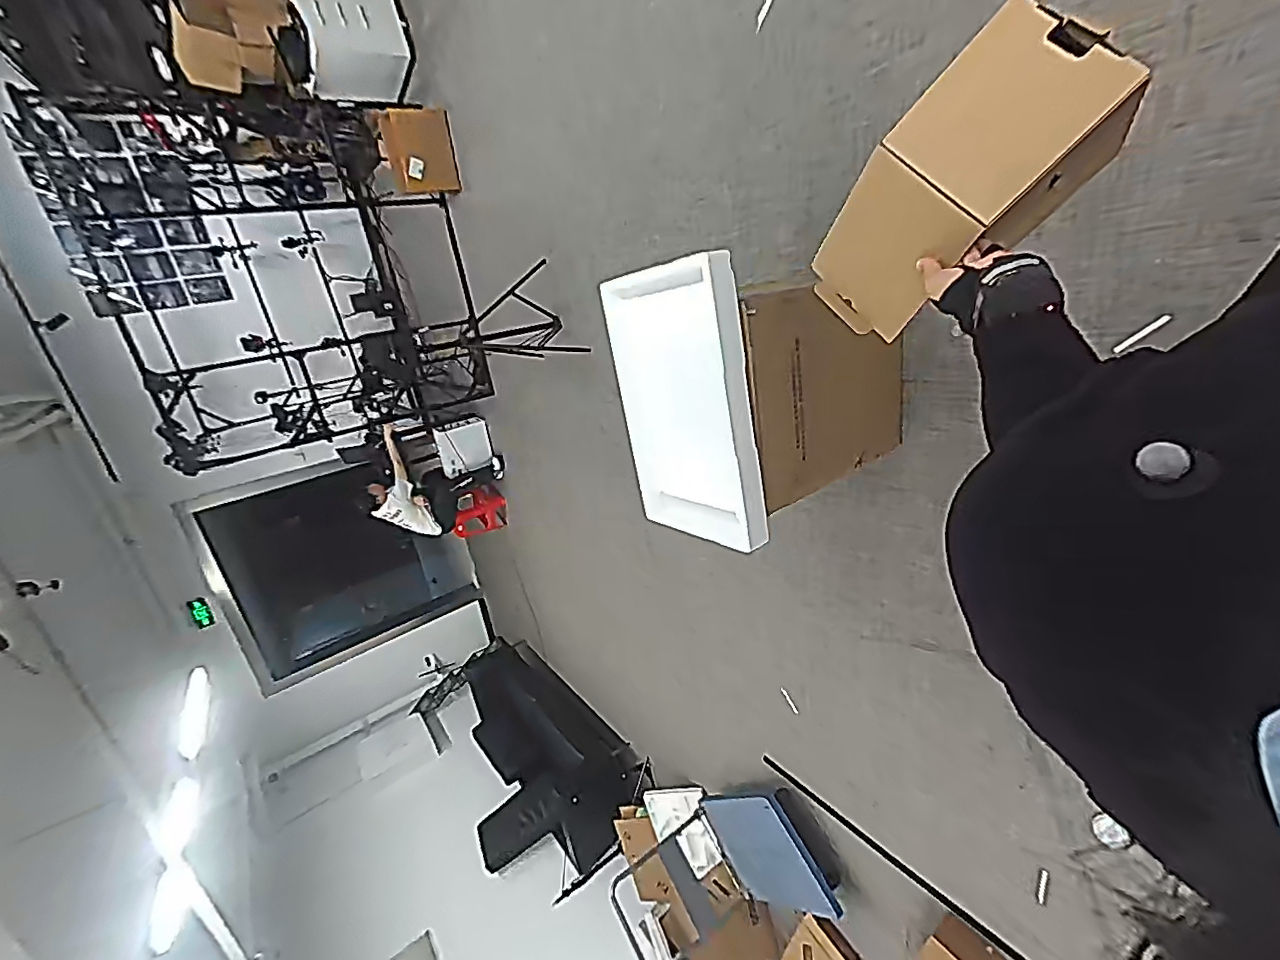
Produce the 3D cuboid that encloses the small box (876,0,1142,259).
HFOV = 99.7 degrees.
[{"bbox_3d":[0.414,-0.391,0.628,0.179,0.176,0.168,-46,69,26],"label":"small box"}]
